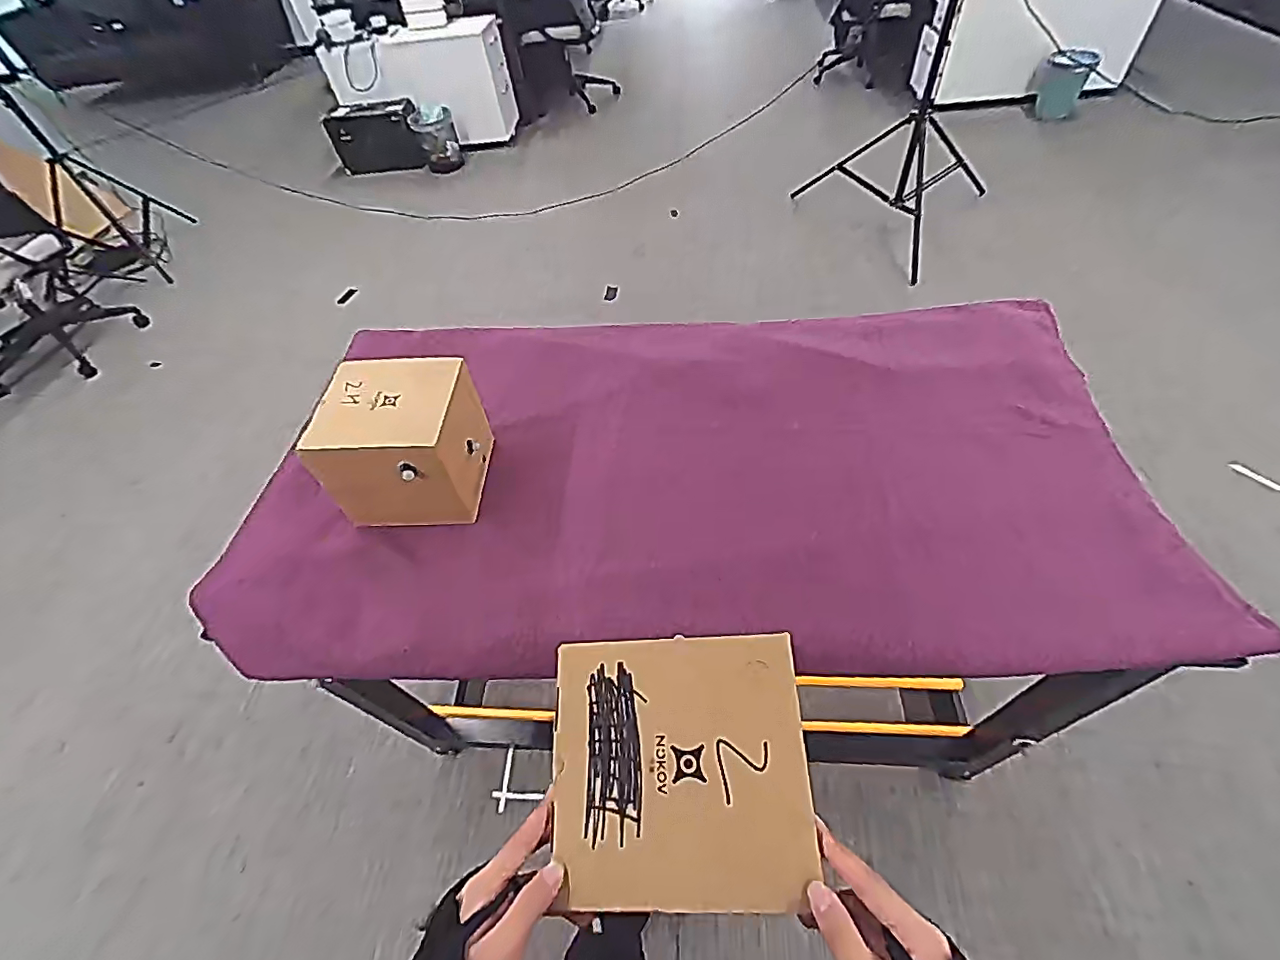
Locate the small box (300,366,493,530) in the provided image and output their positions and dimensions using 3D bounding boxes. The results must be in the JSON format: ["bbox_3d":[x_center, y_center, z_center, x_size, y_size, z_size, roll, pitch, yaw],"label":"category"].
[{"bbox_3d":[-0.321,-0.041,0.761,0.179,0.176,0.168,-2,51,3],"label":"small box"}]
